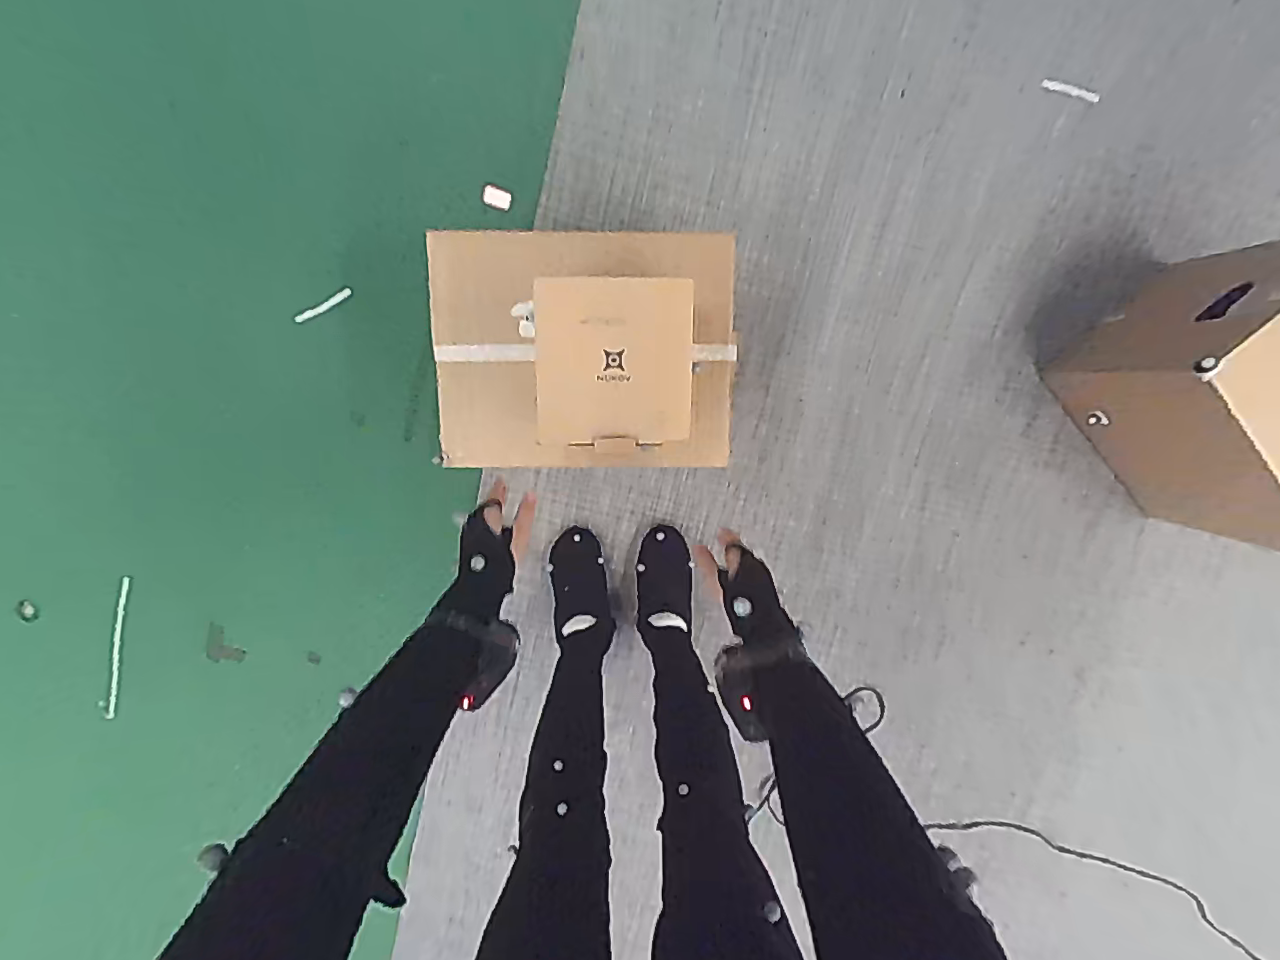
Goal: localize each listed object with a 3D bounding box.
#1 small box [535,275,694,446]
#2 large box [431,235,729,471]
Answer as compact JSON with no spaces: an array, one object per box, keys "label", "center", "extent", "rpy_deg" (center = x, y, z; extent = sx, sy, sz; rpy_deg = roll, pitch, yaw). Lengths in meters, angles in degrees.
[{"label":"small box","center":[-0.028,-0.138,0.645],"extent":[0.168,0.176,0.179],"rpy_deg":[0,100,-2]},{"label":"large box","center":[-0.076,-0.193,0.884],"extent":[0.408,0.320,0.320],"rpy_deg":[0,99,0]}]
